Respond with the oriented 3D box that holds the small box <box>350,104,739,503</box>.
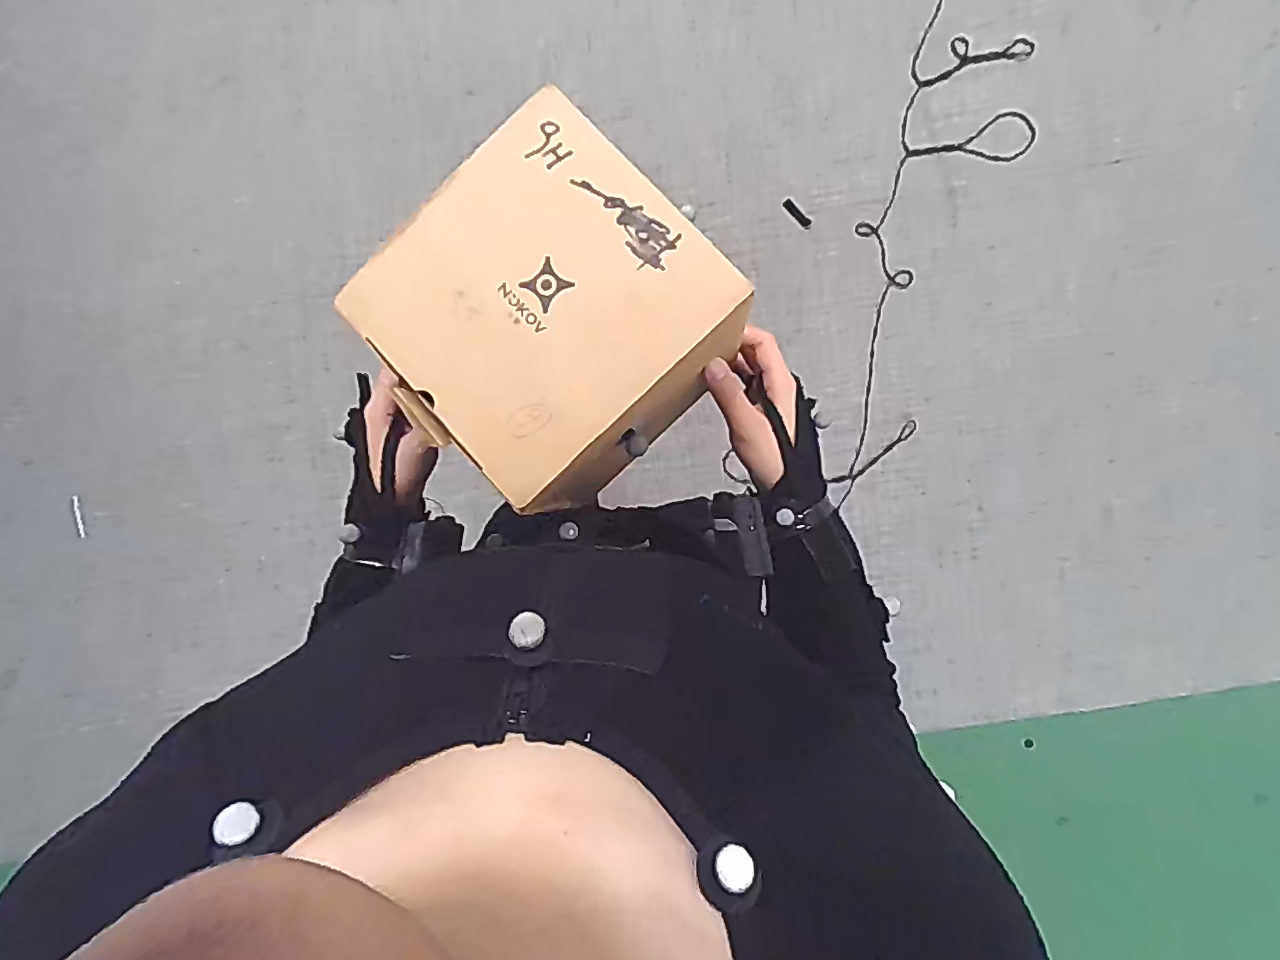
[{"bbox_3d":[-0.049,-0.098,0.388,0.179,0.176,0.168,-43,85,3],"label":"small box"}]
